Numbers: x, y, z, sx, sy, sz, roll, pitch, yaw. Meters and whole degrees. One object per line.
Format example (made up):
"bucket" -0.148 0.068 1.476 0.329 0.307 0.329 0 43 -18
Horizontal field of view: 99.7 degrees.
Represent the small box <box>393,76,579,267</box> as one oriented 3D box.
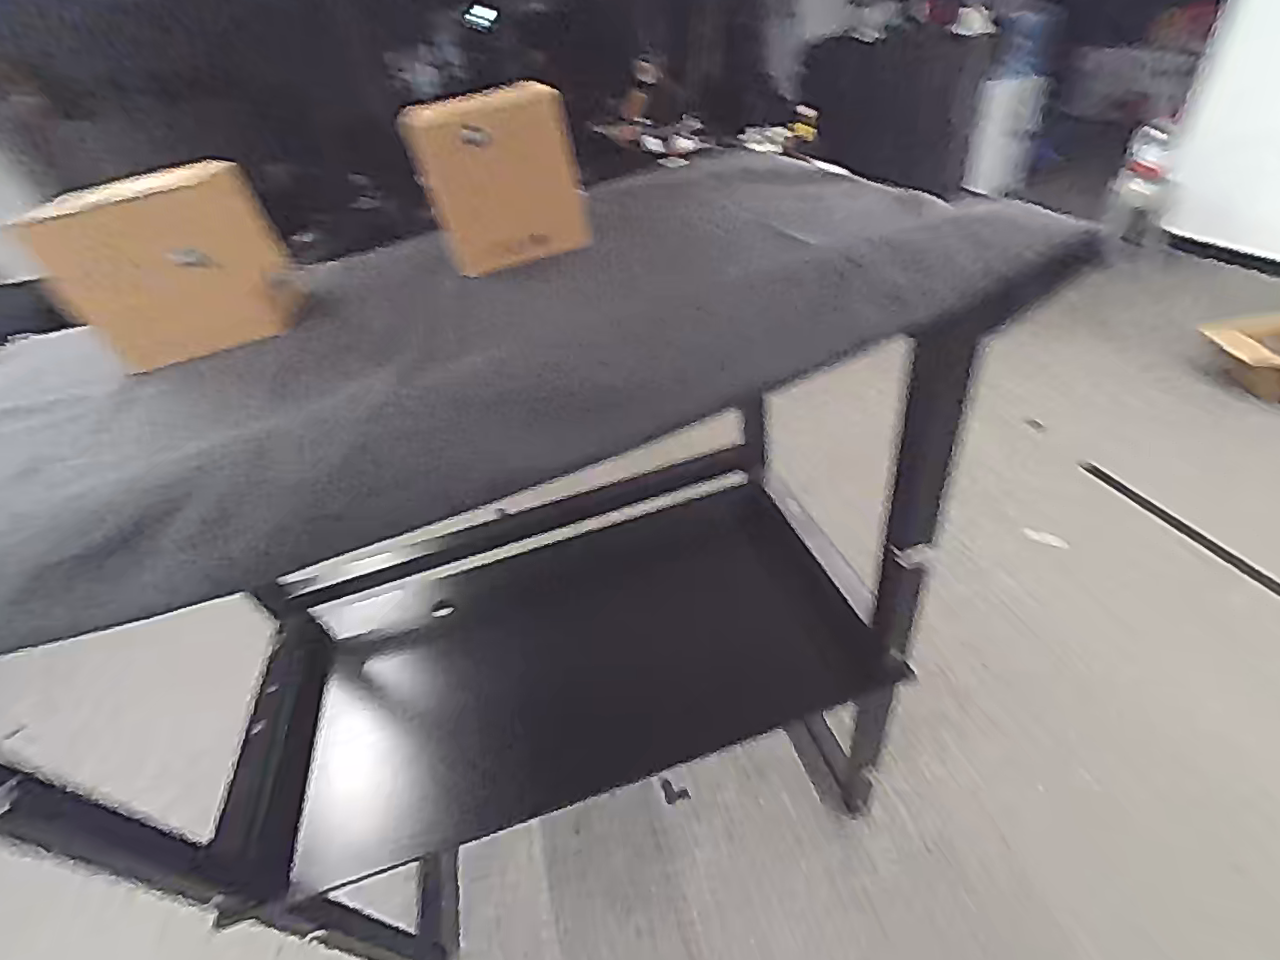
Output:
"small box" -0.187 -0.388 0.682 0.168 0.176 0.179 -19 40 -6
